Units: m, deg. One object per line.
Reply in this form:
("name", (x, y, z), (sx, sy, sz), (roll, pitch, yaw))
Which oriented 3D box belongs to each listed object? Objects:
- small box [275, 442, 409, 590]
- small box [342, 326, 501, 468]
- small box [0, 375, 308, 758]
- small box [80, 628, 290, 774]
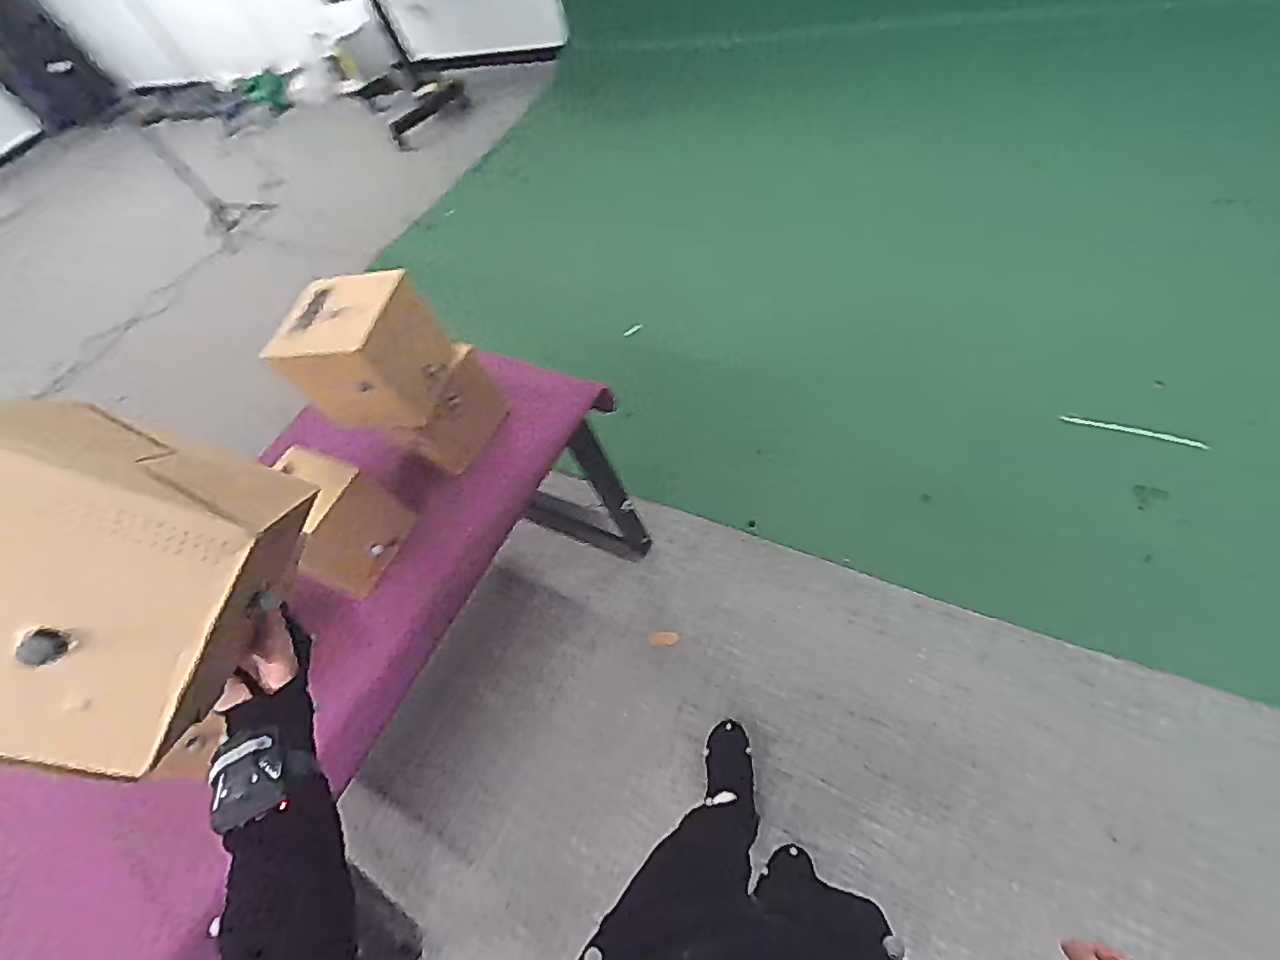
("small box", (-0.532, 0.063, 0.899), (0.179, 0.176, 0.168), (15, 64, 23))
("small box", (-0.388, -0.148, 0.991), (0.168, 0.176, 0.179), (20, 66, 27))
("small box", (-0.351, 0.044, 0.360), (0.176, 0.179, 0.168), (-65, 21, 1))
("small box", (-0.660, 0.299, 0.787), (0.179, 0.176, 0.168), (32, 72, 31))
